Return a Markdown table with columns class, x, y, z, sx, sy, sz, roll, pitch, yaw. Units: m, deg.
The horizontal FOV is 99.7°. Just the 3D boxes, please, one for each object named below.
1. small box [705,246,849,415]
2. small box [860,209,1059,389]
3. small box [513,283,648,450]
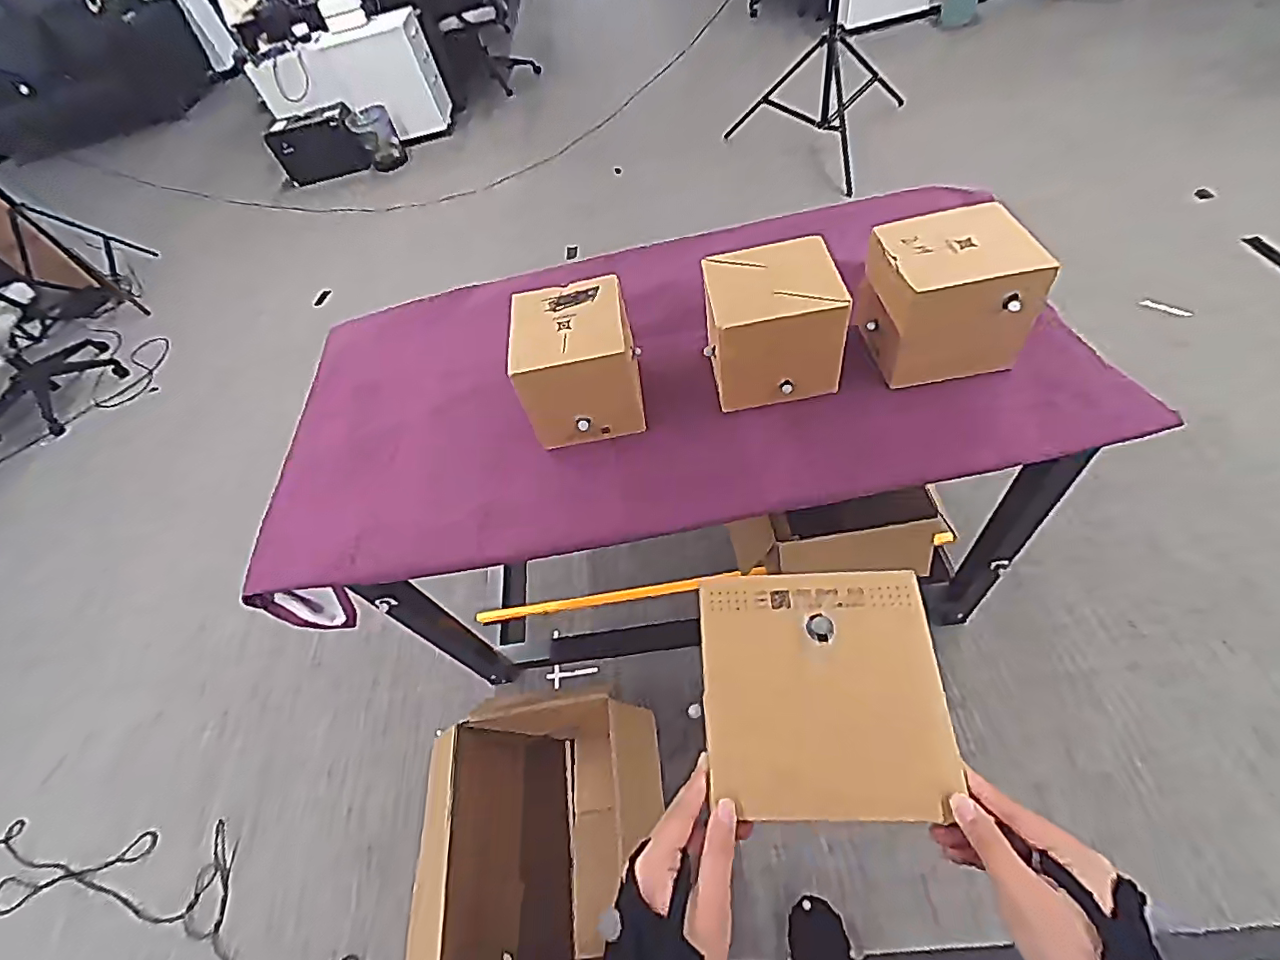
| class | x | y | z | sx | sy | sz | roll | pitch | yaw |
| --- | --- | --- | --- | --- | --- | --- | --- | --- | --- |
| small box | 0.196 | -0.225 | 0.812 | 0.179 | 0.176 | 0.168 | -9 | 52 | 7 |
| small box | 0.438 | -0.255 | 0.779 | 0.179 | 0.176 | 0.168 | -9 | 51 | 6 |
| small box | -0.086 | -0.173 | 0.843 | 0.168 | 0.176 | 0.179 | -10 | 54 | 6 |
